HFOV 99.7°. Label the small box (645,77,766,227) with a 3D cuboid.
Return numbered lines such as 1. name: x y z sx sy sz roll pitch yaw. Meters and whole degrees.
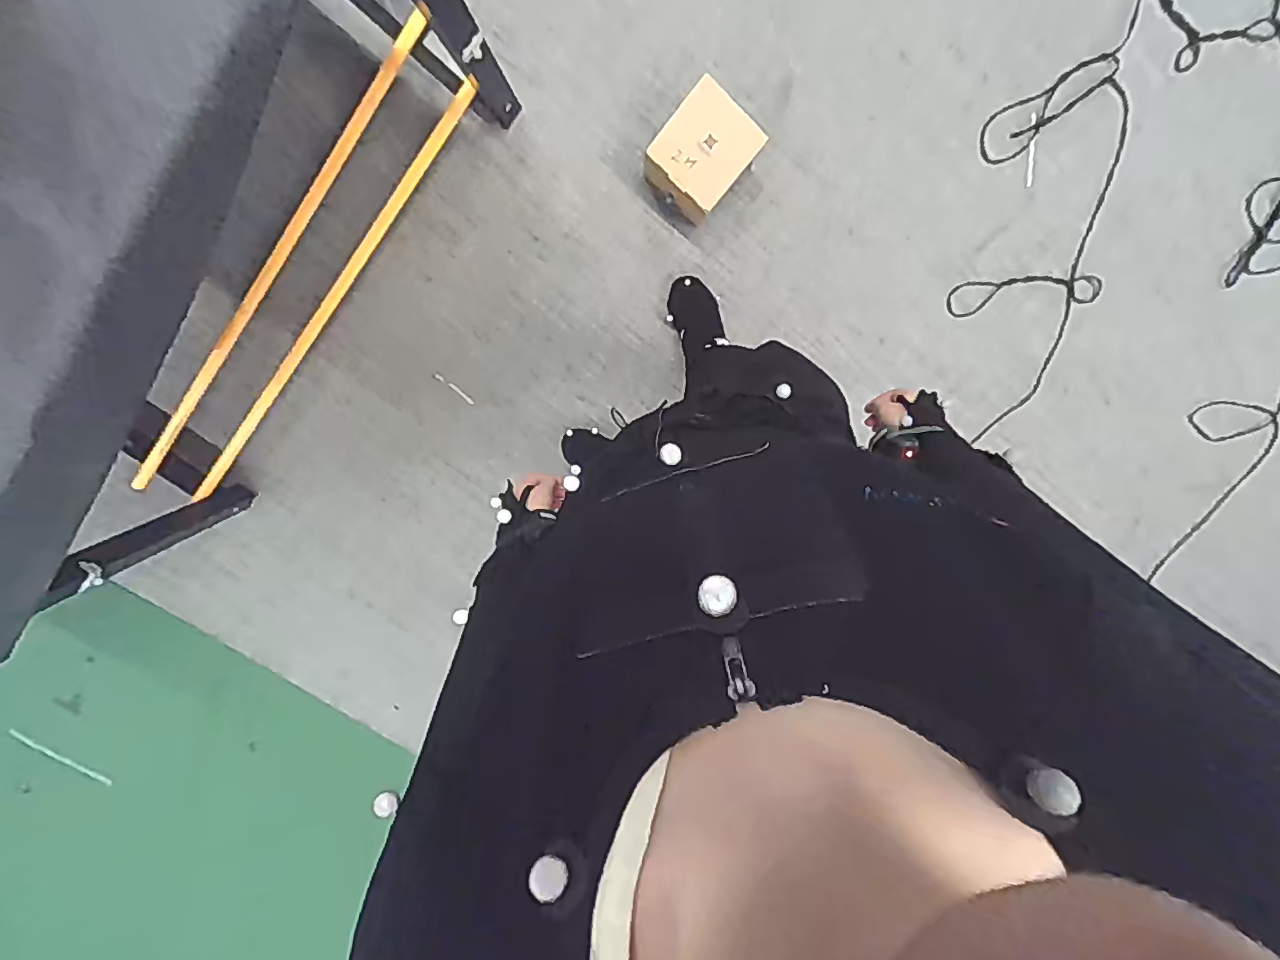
1. small box: 0.121 -0.650 1.099 0.168 0.176 0.179 39 102 -10
